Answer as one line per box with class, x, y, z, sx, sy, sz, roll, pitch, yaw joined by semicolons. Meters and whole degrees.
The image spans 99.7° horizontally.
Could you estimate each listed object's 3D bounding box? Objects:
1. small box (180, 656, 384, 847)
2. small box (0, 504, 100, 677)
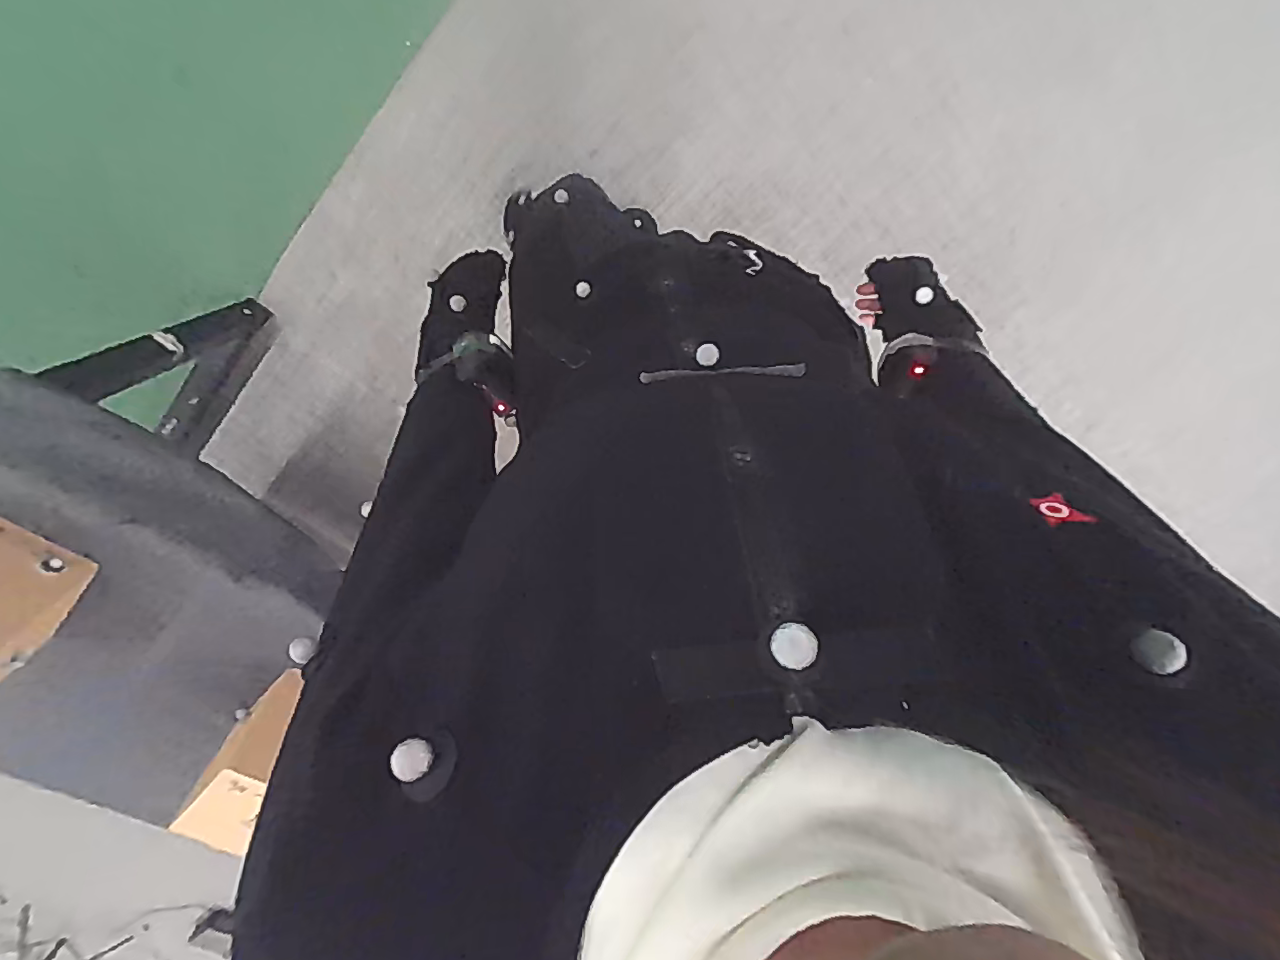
small box;-0.520;0.403;0.812;0.168;0.176;0.179;39;111;-23
small box;-0.815;0.144;0.643;0.179;0.176;0.168;-41;115;20
